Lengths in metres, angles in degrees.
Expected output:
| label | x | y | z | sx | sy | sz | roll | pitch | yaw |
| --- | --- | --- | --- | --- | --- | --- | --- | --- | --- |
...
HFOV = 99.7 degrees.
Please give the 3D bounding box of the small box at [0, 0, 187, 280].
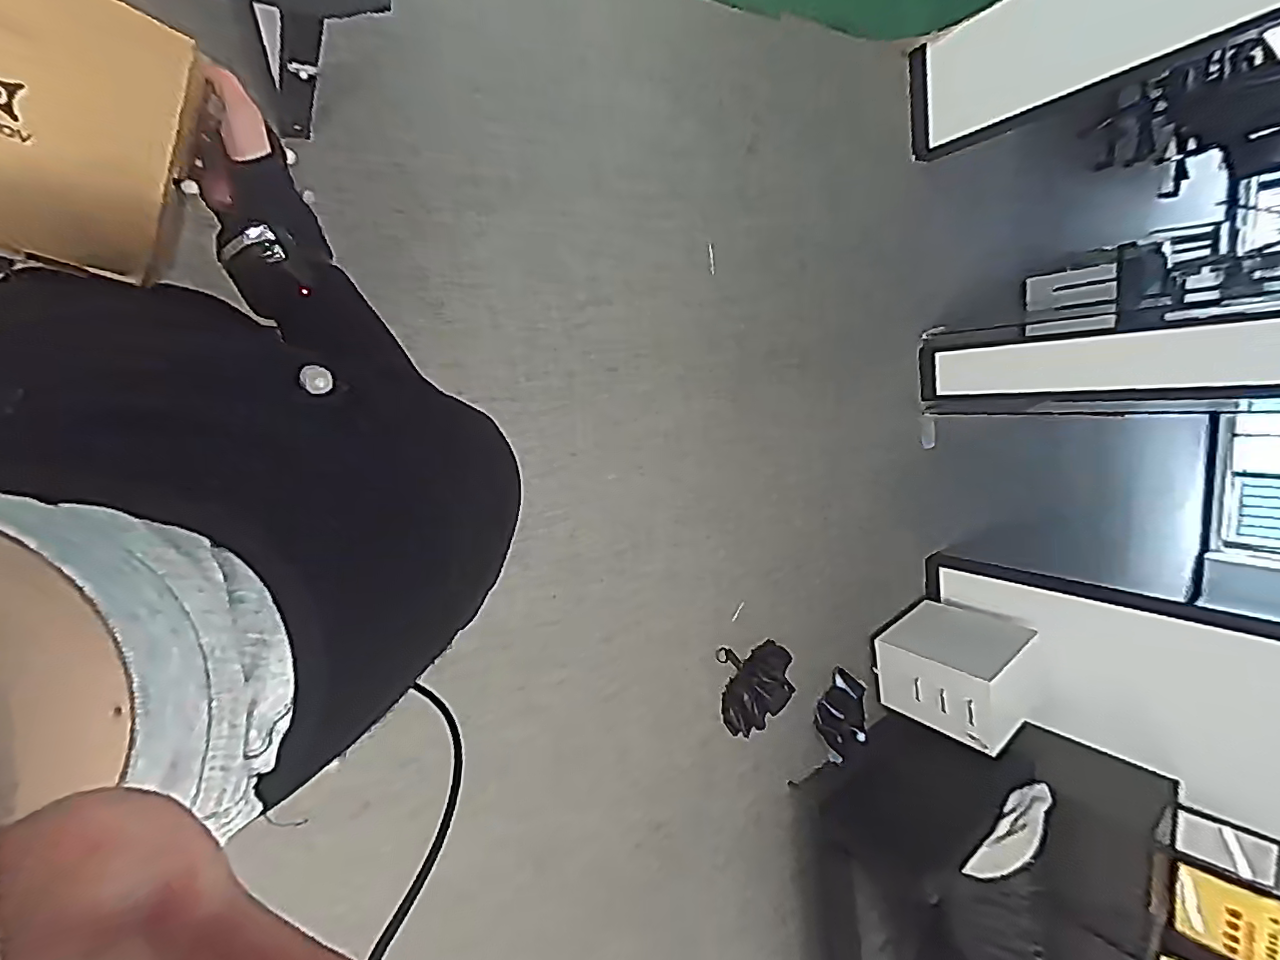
| label | x | y | z | sx | sy | sz | roll | pitch | yaw |
| --- | --- | --- | --- | --- | --- | --- | --- | --- | --- |
| small box | -0.446 | -0.266 | 0.387 | 0.168 | 0.176 | 0.179 | 12 | 104 | -41 |
